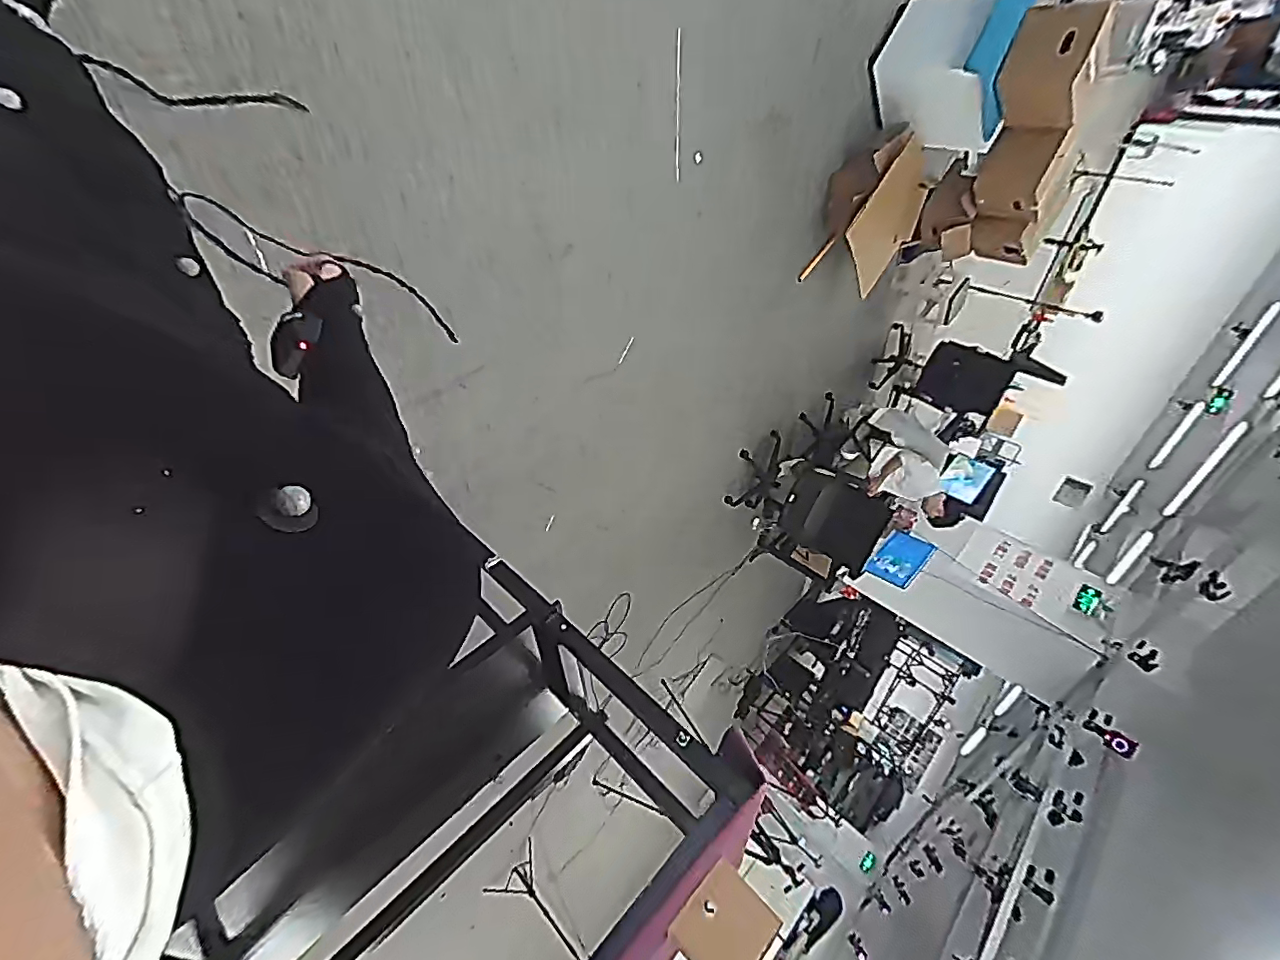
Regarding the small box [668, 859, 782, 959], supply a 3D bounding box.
[{"bbox_3d":[0.172,0.958,1.143,0.179,0.176,0.168,-35,143,-28],"label":"small box"}]
